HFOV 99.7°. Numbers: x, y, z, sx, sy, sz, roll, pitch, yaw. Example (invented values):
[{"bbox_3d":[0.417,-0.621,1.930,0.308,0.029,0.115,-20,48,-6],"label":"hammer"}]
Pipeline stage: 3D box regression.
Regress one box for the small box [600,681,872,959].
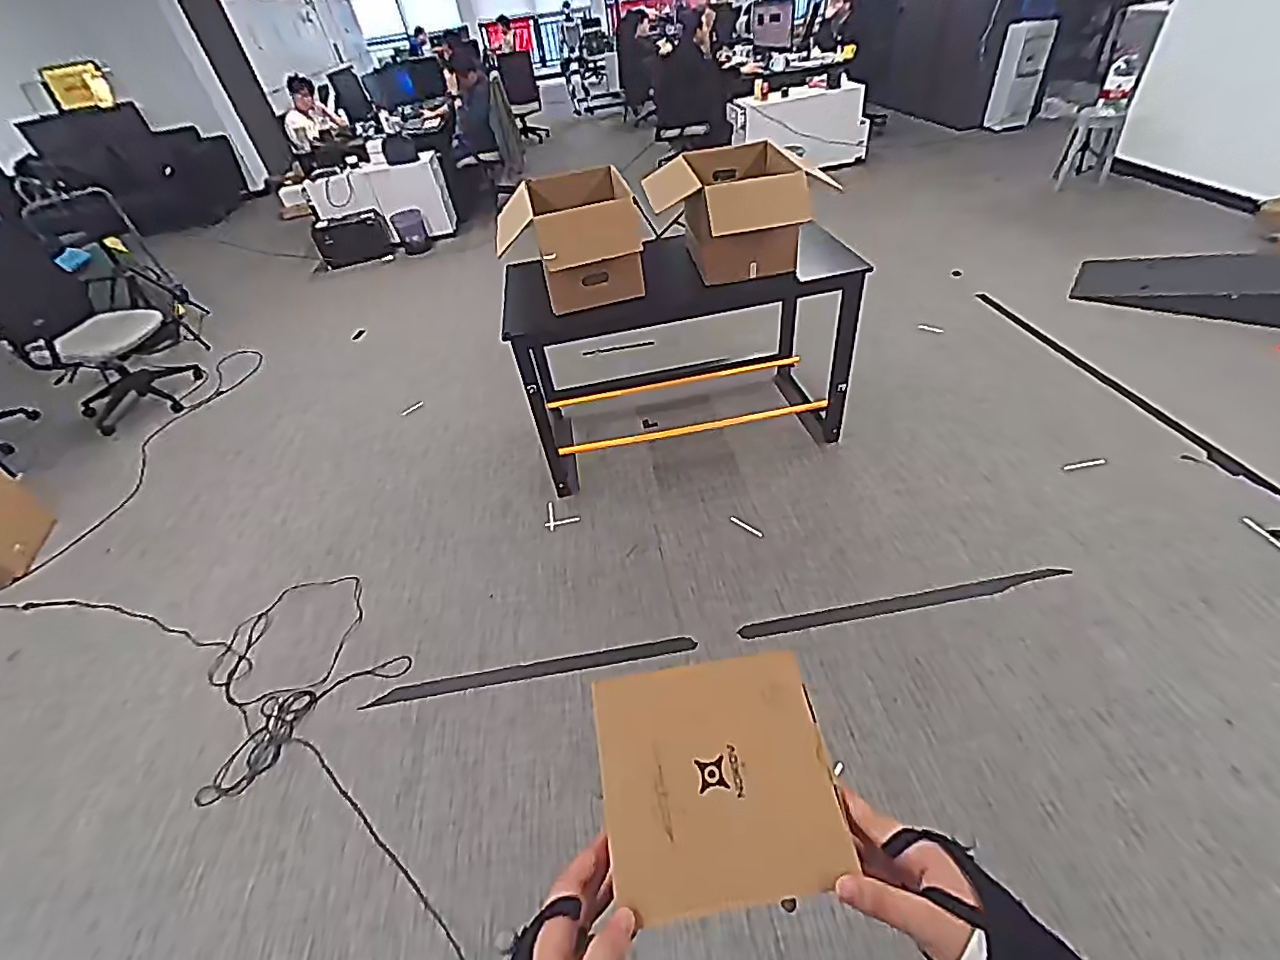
[{"bbox_3d":[0.066,0.293,0.476,0.179,0.176,0.168,-10,56,-4],"label":"small box"}]
